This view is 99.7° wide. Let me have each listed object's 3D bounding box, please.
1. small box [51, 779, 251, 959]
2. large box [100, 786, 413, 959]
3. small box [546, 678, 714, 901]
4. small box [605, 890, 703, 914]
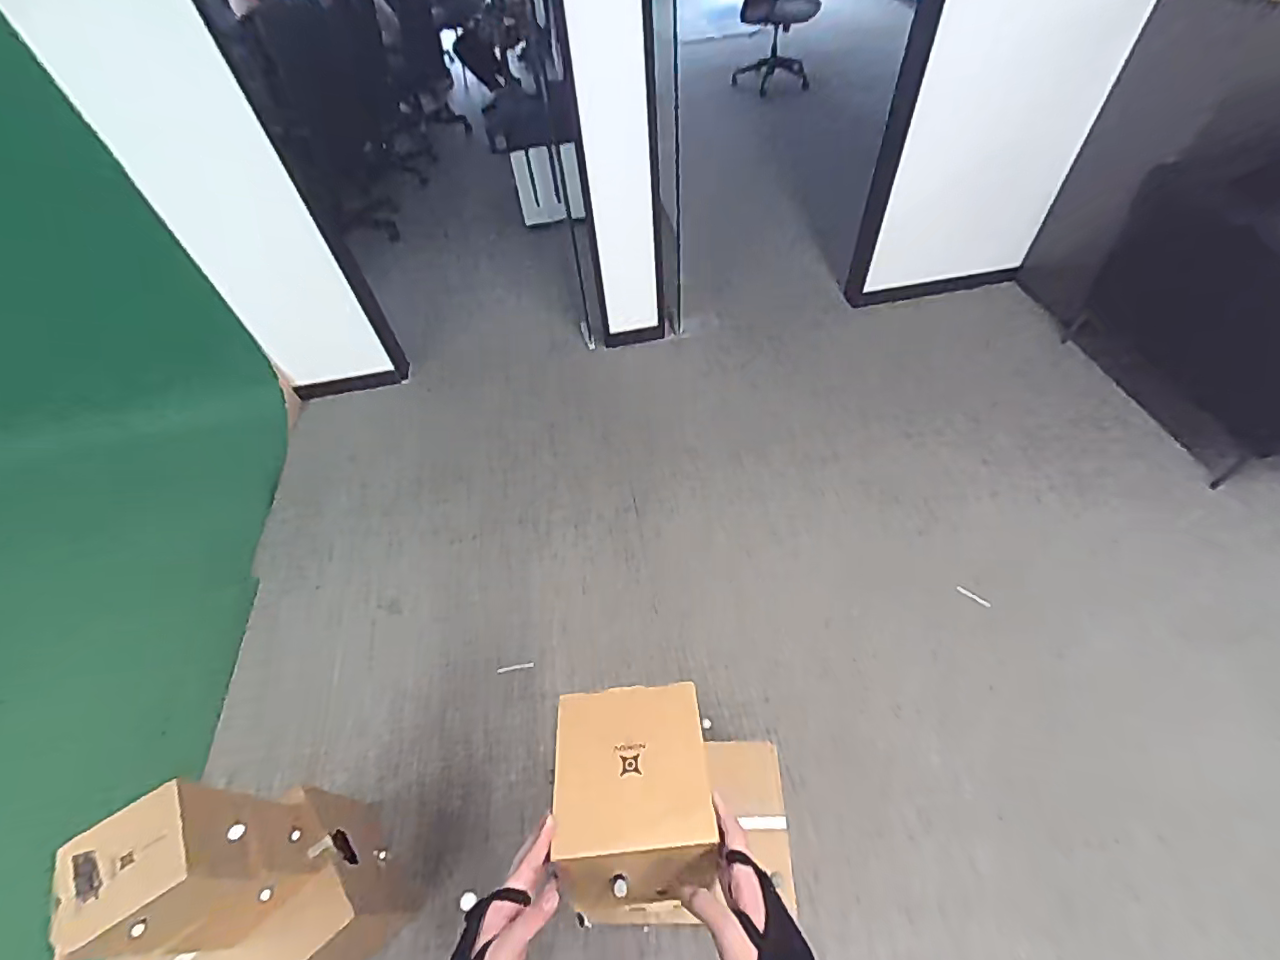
[{"bbox_3d":[-0.790,0.634,0.886,0.179,0.176,0.168,-30,55,-18],"label":"small box"},{"bbox_3d":[-0.786,0.954,1.158,0.408,0.320,0.320,-37,57,-21],"label":"large box"},{"bbox_3d":[-0.008,0.360,0.627,0.168,0.176,0.179,-5,38,-1],"label":"small box"},{"bbox_3d":[0.025,0.680,0.996,0.168,0.176,0.179,-4,53,1],"label":"small box"}]
